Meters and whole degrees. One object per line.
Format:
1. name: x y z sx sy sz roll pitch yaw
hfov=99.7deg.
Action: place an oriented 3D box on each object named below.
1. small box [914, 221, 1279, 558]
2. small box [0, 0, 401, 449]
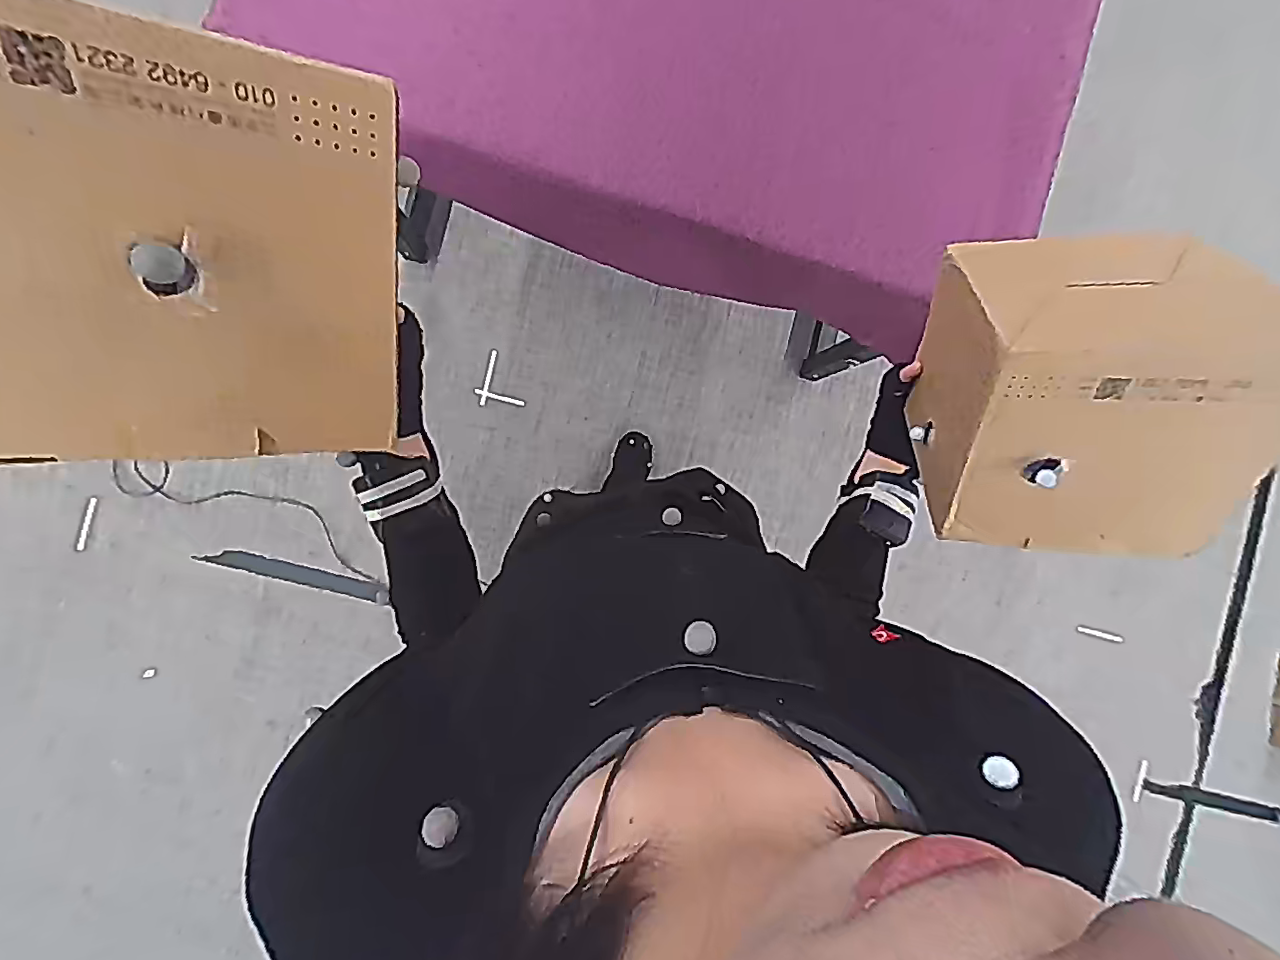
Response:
1. small box: 0.317 -0.069 0.389 0.168 0.179 0.176 4 133 12
2. small box: -0.214 -0.129 0.261 0.168 0.179 0.176 -3 123 -28
